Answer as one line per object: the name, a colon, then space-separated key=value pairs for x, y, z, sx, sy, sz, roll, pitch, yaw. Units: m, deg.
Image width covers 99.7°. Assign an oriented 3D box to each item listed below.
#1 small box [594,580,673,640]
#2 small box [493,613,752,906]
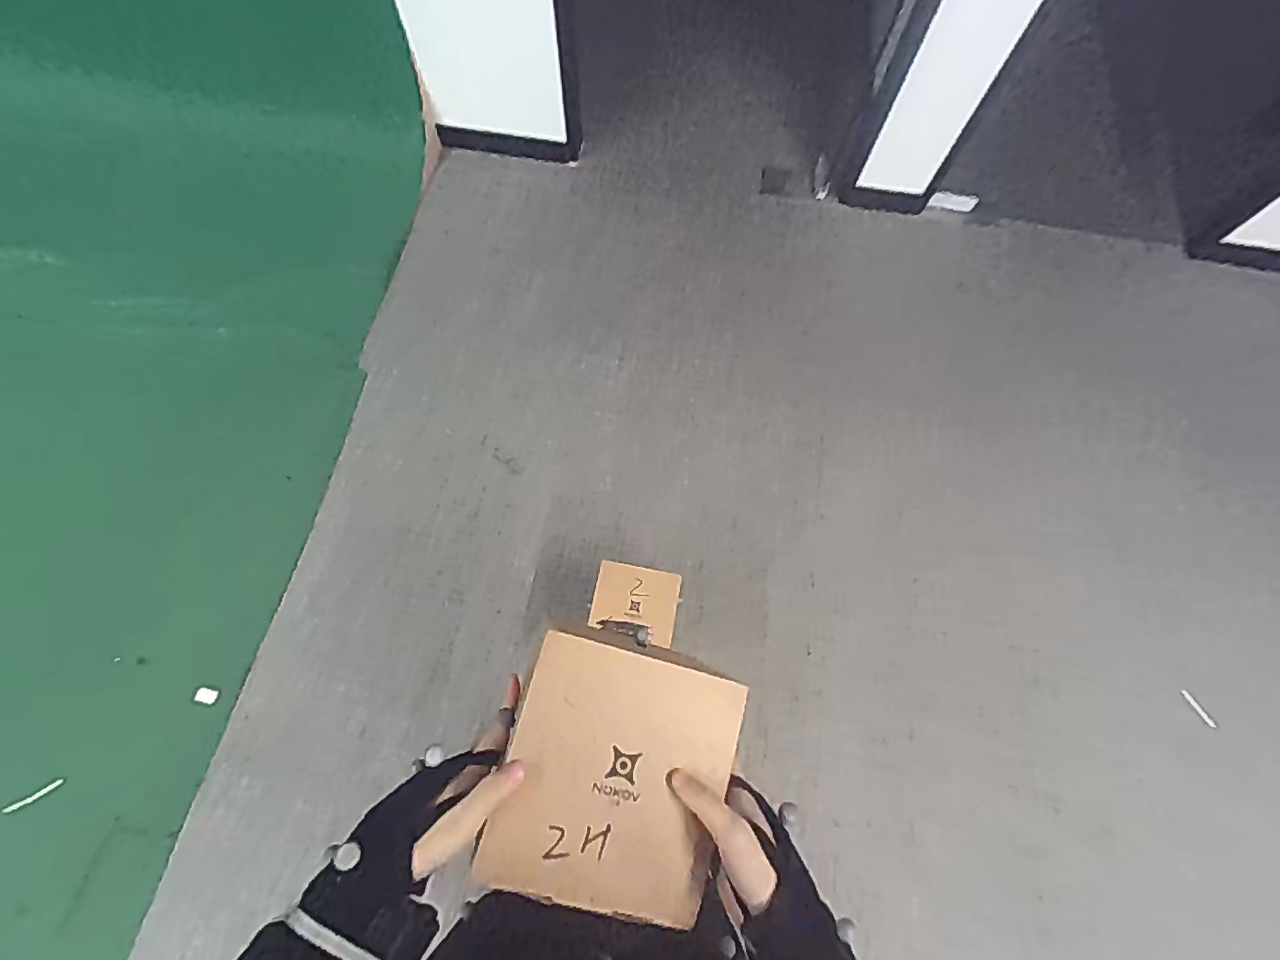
small box: x=-0.029 y=0.356 z=1.281 sx=0.168 sy=0.176 sz=0.179 roll=15 pitch=70 yaw=3
small box: x=-0.022 y=0.227 z=0.490 sx=0.168 sy=0.176 sz=0.179 roll=18 pitch=77 yaw=-6
